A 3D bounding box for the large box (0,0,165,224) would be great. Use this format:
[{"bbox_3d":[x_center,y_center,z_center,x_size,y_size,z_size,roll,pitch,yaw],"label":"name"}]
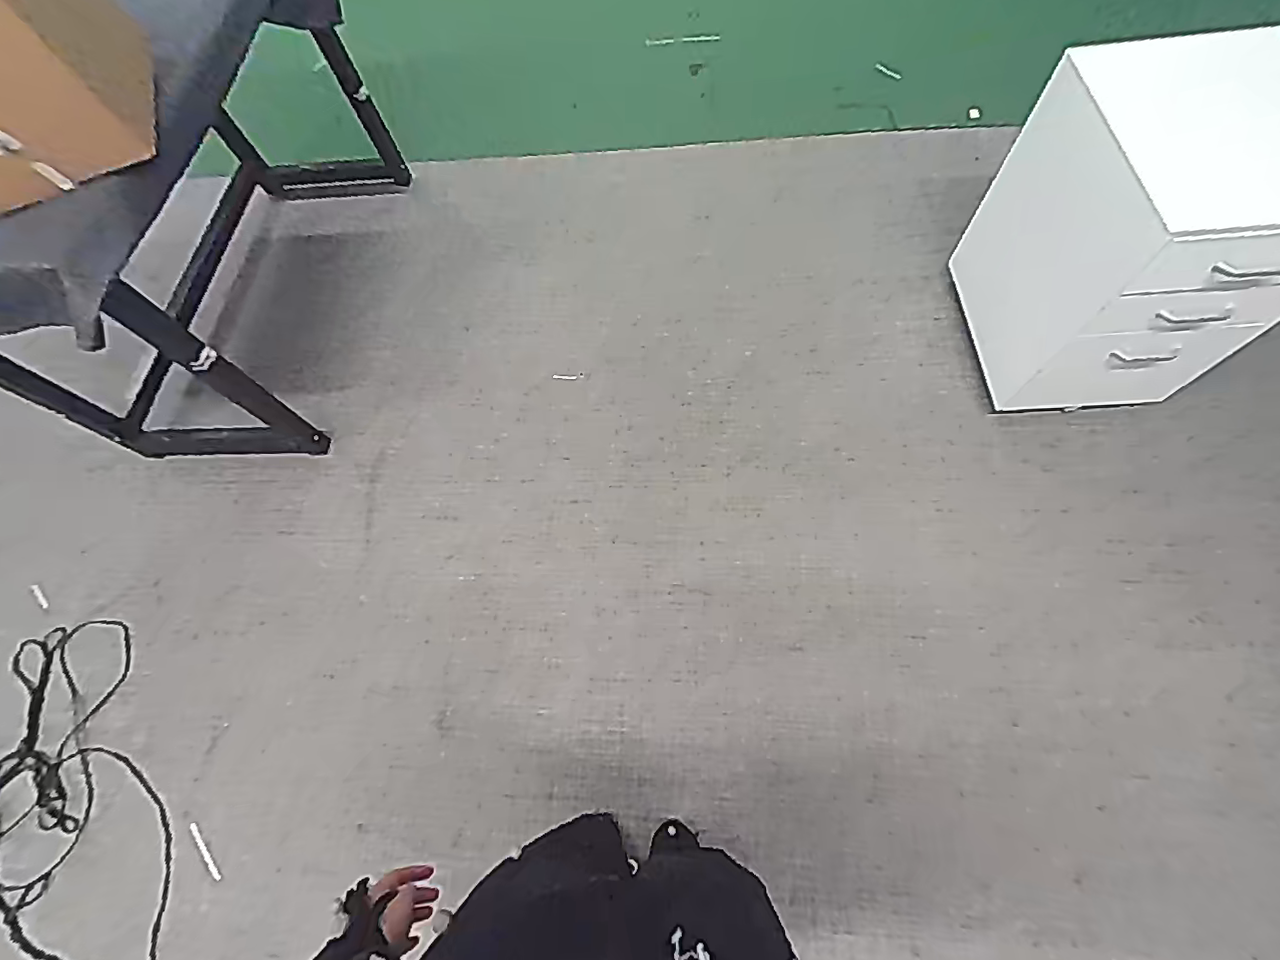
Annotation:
[{"bbox_3d":[-1.093,-0.728,0.921,0.320,0.320,0.408,-24,63,-5],"label":"large box"}]
